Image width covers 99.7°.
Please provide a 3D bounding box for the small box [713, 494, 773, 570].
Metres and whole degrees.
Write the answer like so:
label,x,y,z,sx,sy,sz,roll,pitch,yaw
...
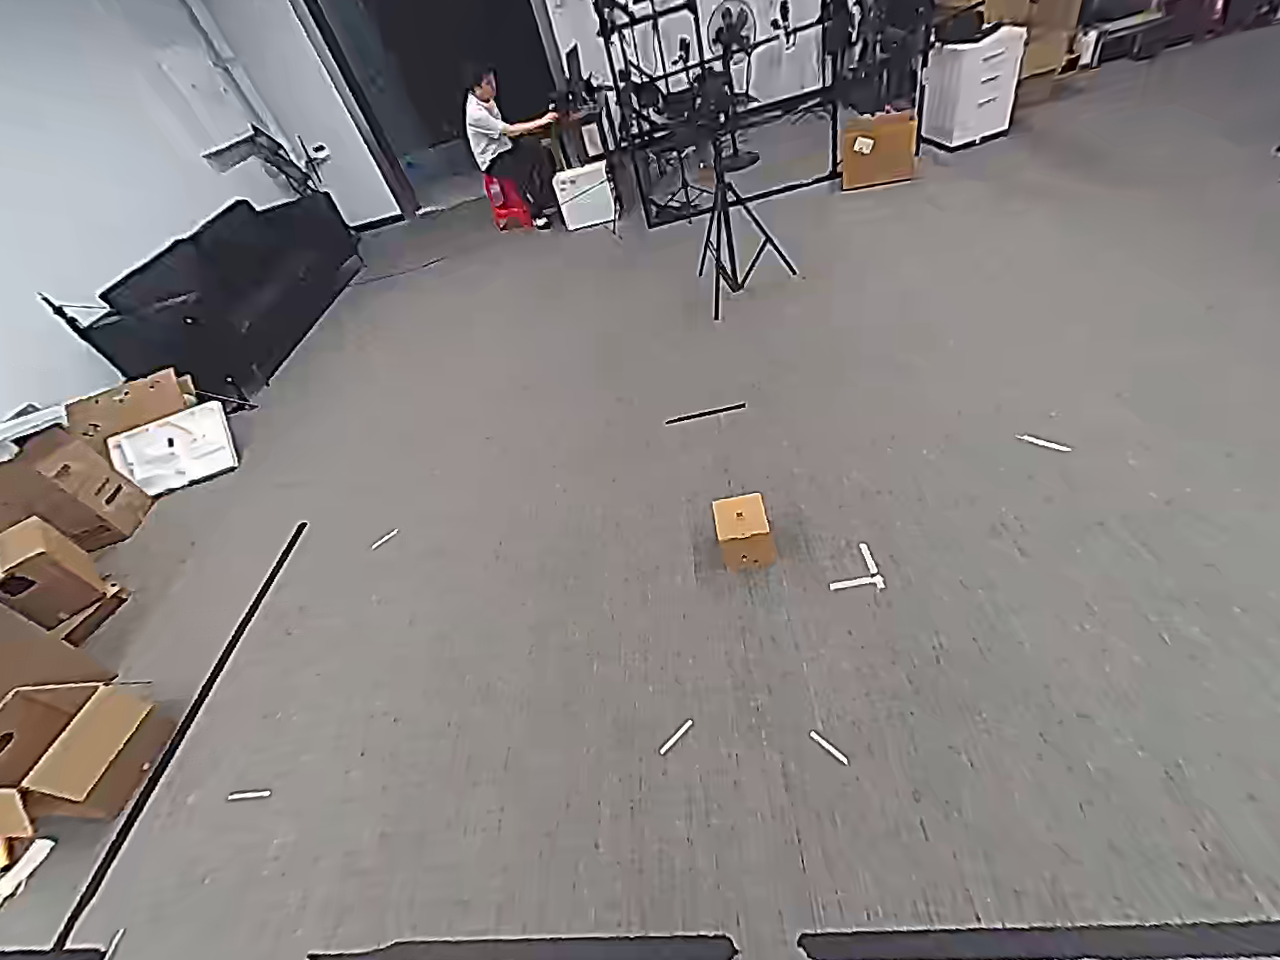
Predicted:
label,x,y,z,sx,sy,sz,roll,pitch,yaw
small box,0.348,0.178,1.827,0.168,0.176,0.179,-12,43,8
